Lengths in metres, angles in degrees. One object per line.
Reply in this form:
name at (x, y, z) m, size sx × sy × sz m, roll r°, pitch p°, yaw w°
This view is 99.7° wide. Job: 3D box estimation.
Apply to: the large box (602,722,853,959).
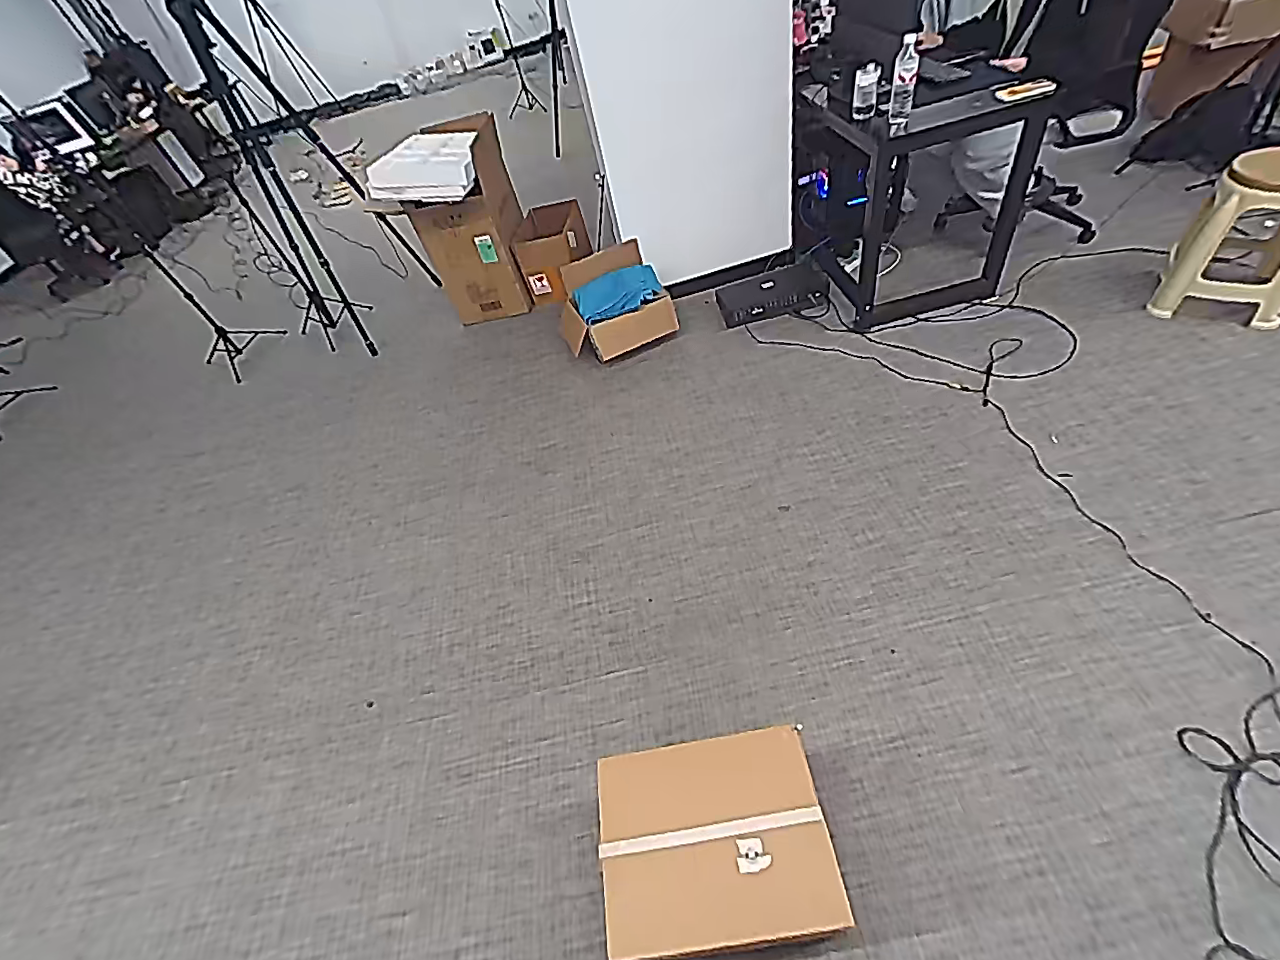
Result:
large box at (0.160, 0.729, 1.083) m, size 0.408 × 0.320 × 0.320 m, roll -12°, pitch 47°, yaw 4°
